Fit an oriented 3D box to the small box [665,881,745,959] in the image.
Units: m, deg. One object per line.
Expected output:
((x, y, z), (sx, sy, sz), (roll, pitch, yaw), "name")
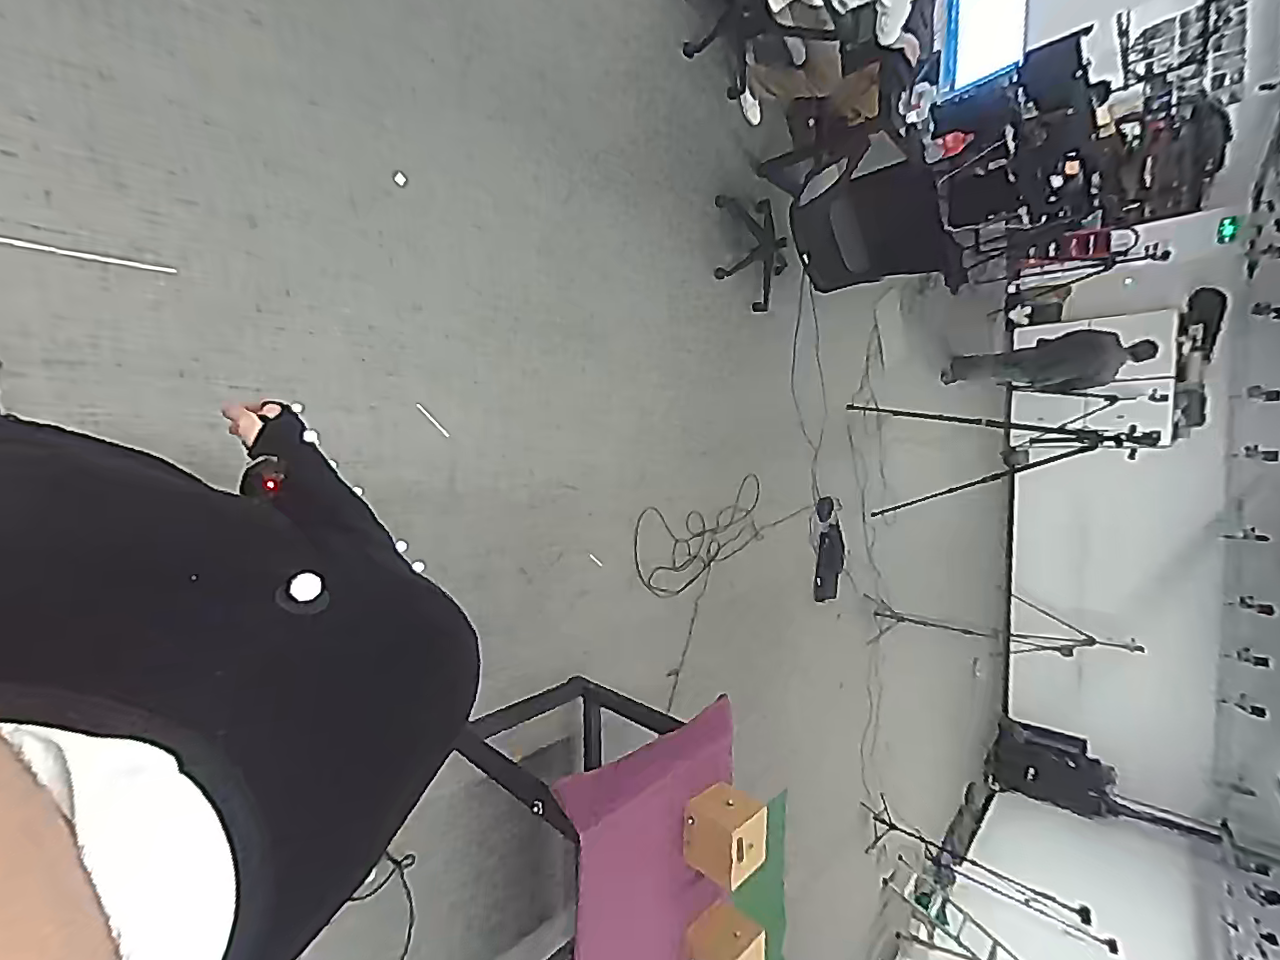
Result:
((0.197, 1.368, 1.629), (0.179, 0.176, 0.168), (1, 91, -47), "small box")

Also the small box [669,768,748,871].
((0.200, 0.991, 1.597), (0.179, 0.176, 0.168), (-1, 94, -47), "small box")
